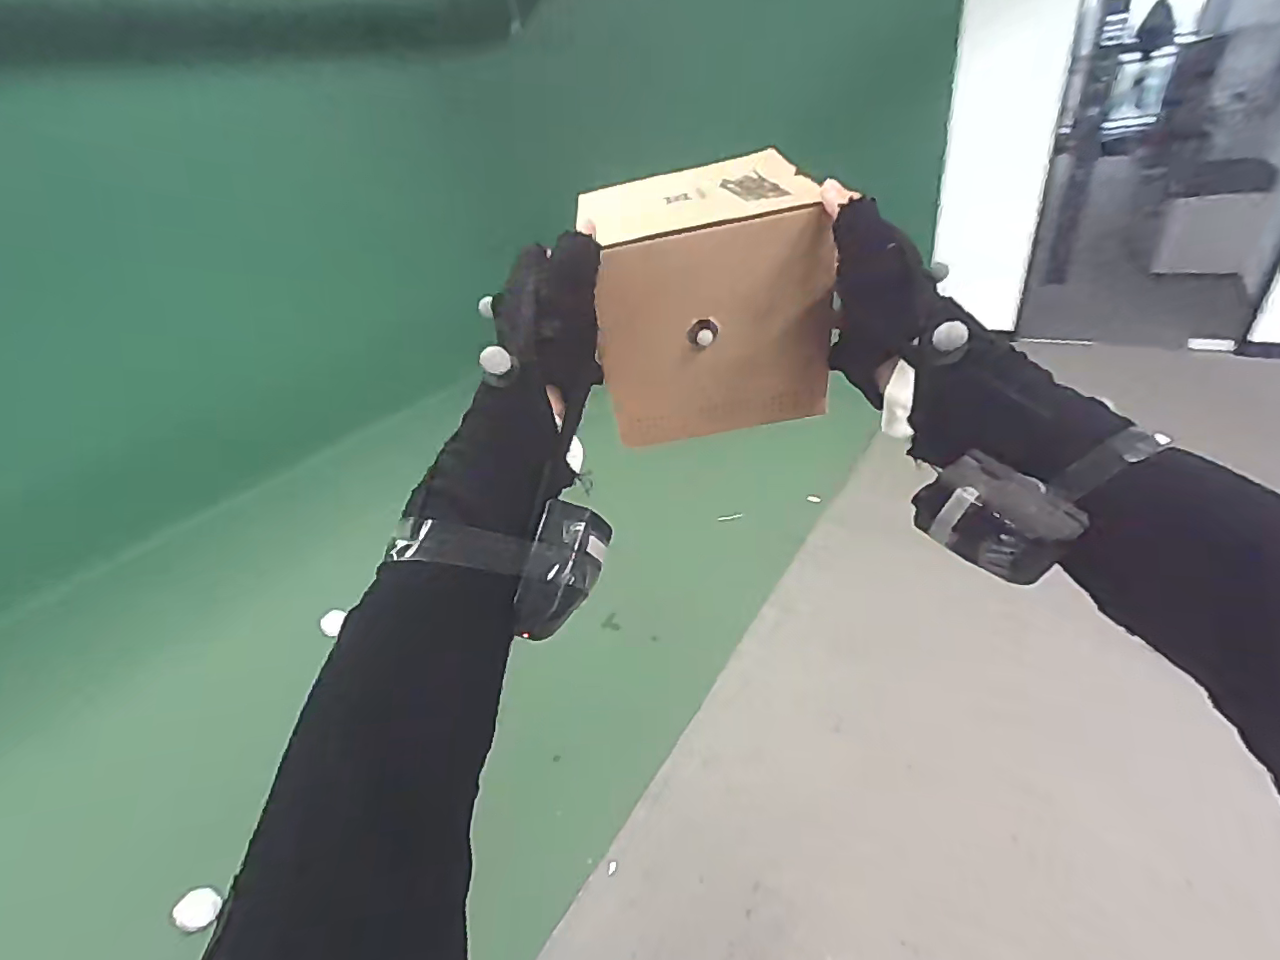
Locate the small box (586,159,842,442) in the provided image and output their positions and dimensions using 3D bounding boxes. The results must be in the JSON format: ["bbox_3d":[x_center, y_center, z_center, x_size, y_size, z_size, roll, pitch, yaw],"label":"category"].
[{"bbox_3d":[0.060,-0.155,0.473,0.179,0.176,0.168,-10,39,5],"label":"small box"}]
